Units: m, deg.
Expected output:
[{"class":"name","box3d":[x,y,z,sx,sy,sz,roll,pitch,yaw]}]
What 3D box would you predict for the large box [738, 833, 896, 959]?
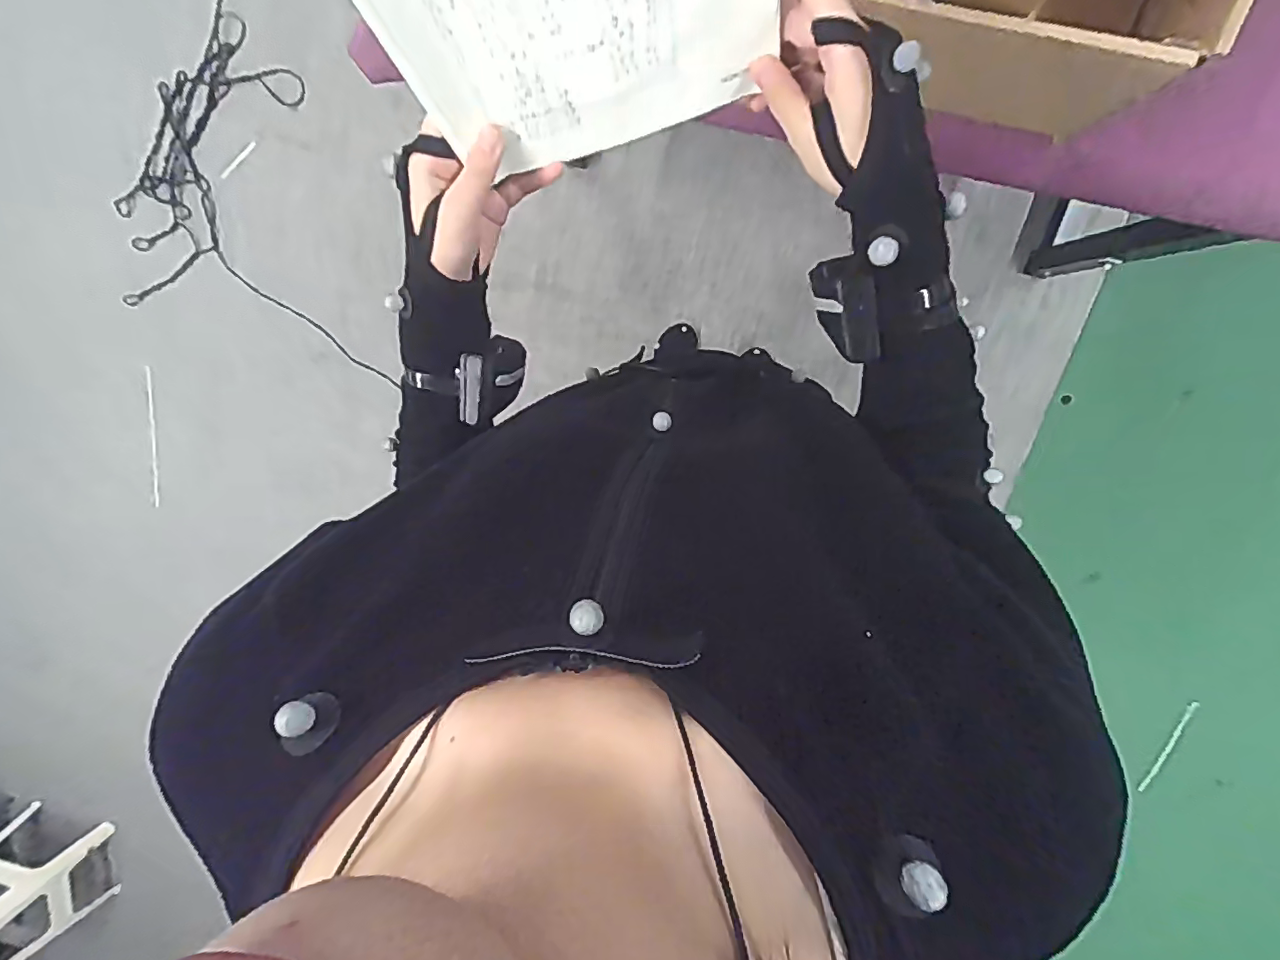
[{"class":"large box","box3d":[0.507,1.334,1.637,0.408,0.320,0.320,0,105,8]}]
